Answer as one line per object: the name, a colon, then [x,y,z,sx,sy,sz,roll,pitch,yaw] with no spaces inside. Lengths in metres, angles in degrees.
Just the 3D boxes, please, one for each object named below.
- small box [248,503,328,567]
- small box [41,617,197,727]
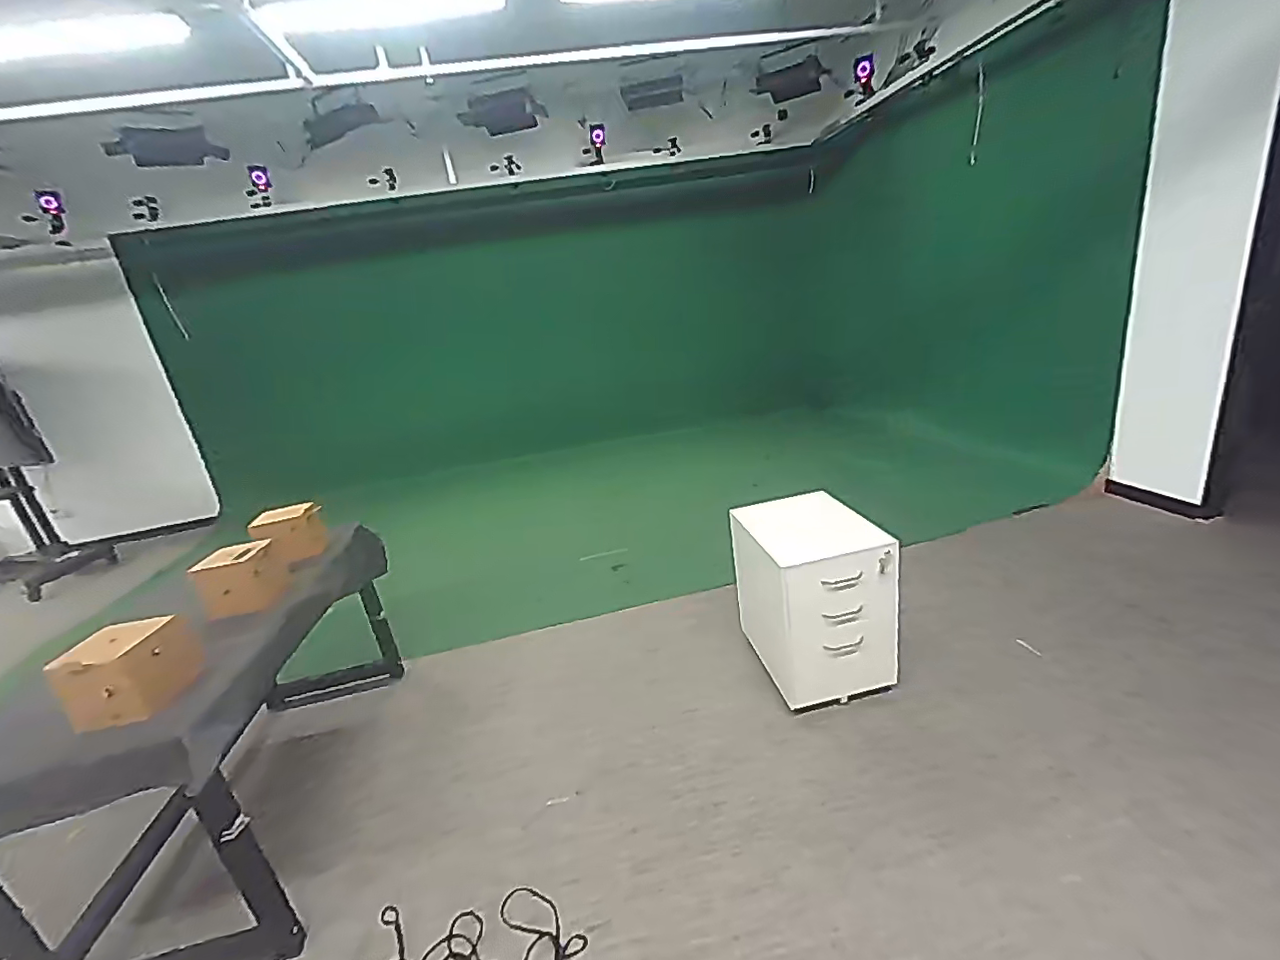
small box: [-1.295,0.205,2.002,0.179,0.176,0.168,-13,19,-12]
small box: [-1.179,0.444,1.244,0.168,0.176,0.179,-8,17,-1]
